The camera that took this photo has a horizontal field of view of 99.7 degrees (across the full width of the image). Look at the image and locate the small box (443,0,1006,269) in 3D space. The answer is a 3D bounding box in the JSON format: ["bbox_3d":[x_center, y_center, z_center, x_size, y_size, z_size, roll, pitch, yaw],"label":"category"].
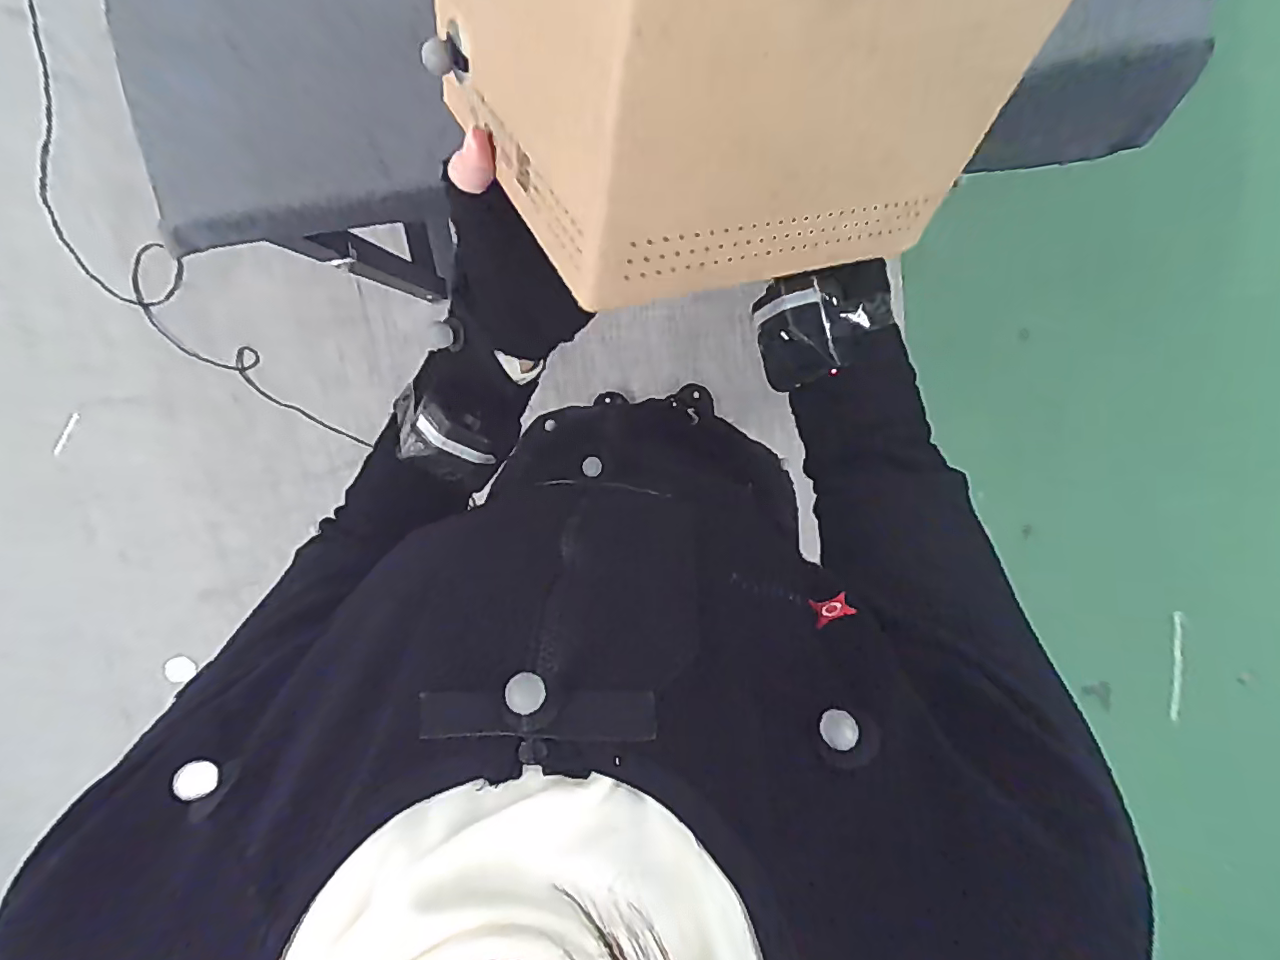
[{"bbox_3d":[0.028,-0.203,0.200,0.179,0.176,0.168,-22,64,-24],"label":"small box"}]
